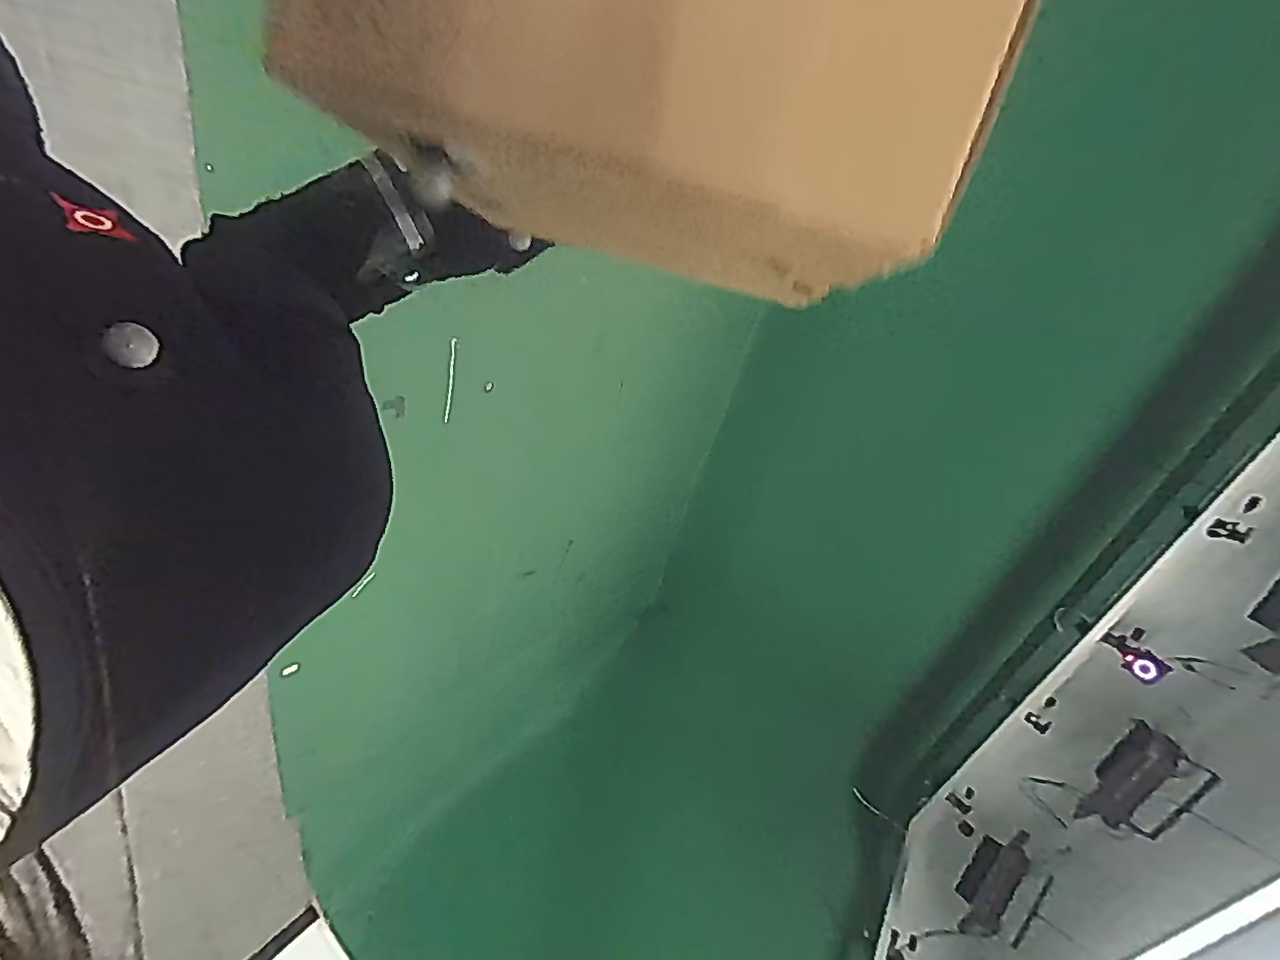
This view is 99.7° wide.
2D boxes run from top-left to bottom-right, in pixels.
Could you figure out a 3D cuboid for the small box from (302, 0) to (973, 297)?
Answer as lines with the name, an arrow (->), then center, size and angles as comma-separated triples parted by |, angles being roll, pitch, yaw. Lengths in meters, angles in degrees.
small box -> 0.008, -0.181, 0.189 | 0.168, 0.176, 0.179 | -73, 178, -76
